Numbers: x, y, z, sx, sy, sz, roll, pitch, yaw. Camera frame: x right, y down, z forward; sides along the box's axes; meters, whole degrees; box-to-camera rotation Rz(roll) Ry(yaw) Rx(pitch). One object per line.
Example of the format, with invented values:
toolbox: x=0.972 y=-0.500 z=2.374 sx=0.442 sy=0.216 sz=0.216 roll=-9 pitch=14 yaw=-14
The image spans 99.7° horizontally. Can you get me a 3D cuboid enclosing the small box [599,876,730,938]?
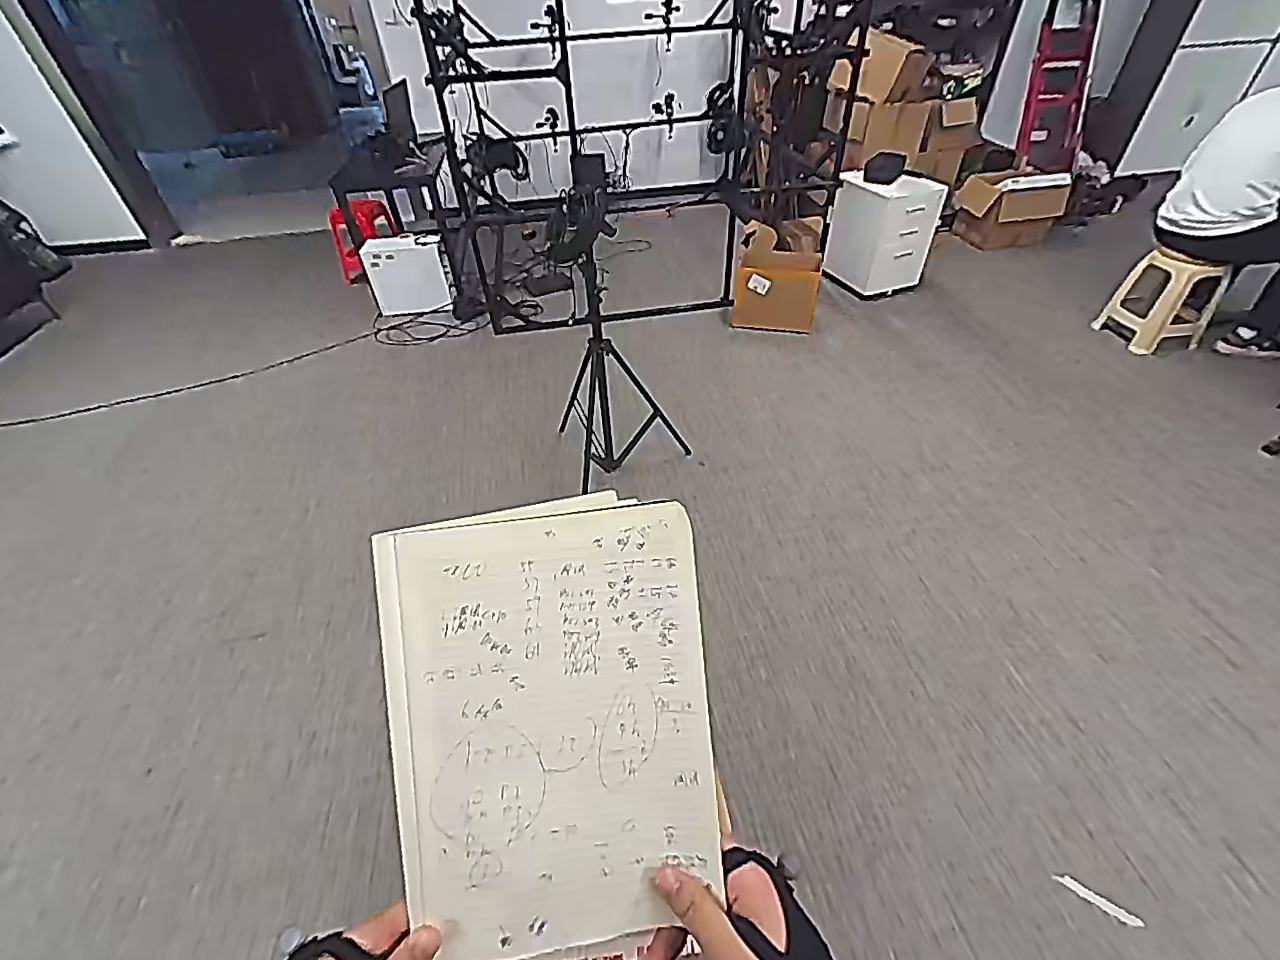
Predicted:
small box: x=0.020 y=0.559 z=0.817 sx=0.179 sy=0.176 sz=0.168 roll=-9 pitch=44 yaw=-8

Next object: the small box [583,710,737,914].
small box: x=0.016 y=0.433 z=0.710 sx=0.168 sy=0.176 sz=0.179 roll=-6 pitch=43 yaw=-7
